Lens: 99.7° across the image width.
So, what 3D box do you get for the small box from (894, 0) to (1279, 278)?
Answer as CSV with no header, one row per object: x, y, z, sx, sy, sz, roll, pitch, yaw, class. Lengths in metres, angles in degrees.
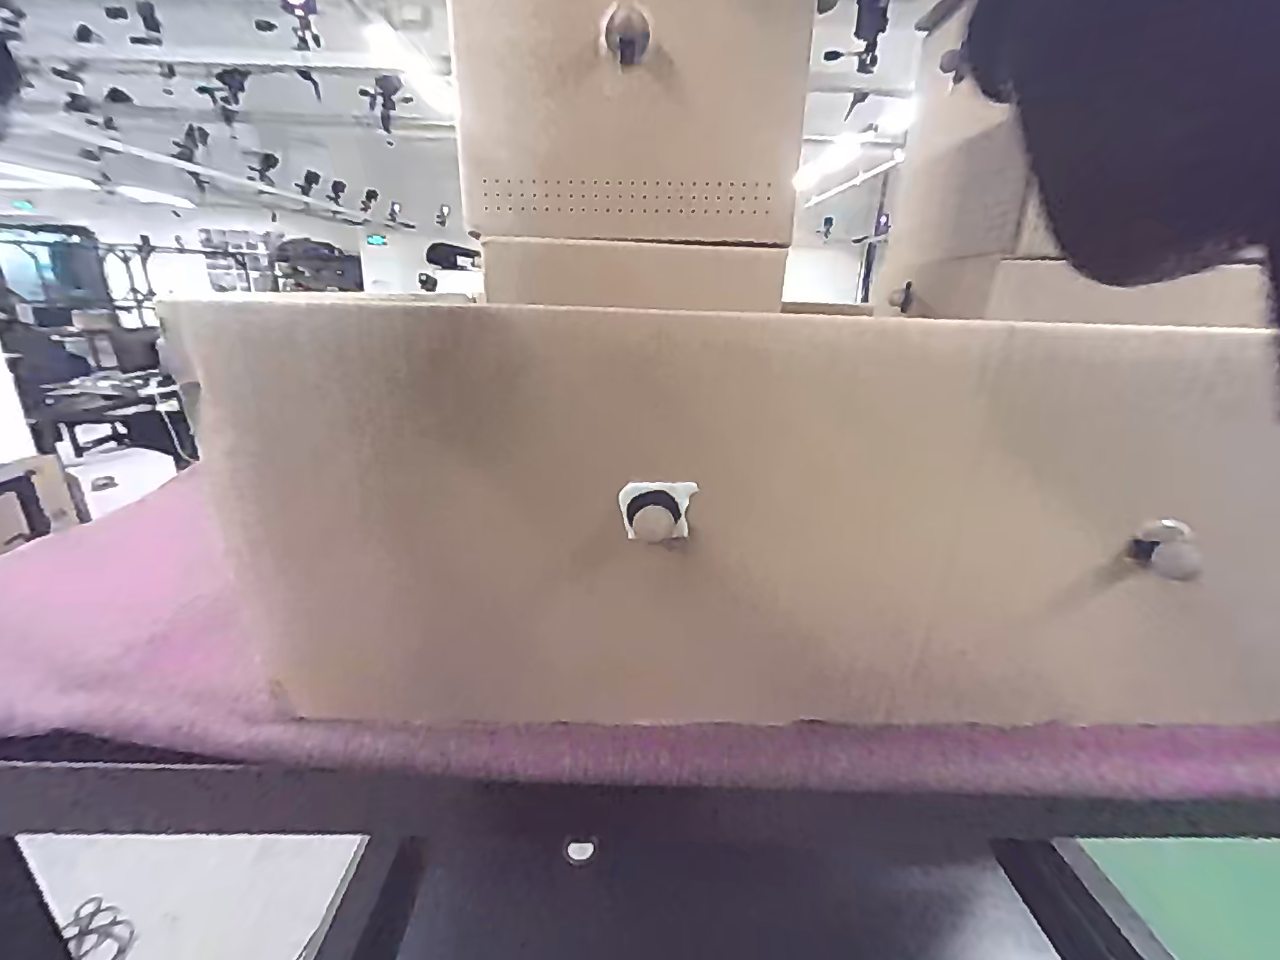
0.289,-0.225,0.354,0.168,0.176,0.179,1,19,2,small box
